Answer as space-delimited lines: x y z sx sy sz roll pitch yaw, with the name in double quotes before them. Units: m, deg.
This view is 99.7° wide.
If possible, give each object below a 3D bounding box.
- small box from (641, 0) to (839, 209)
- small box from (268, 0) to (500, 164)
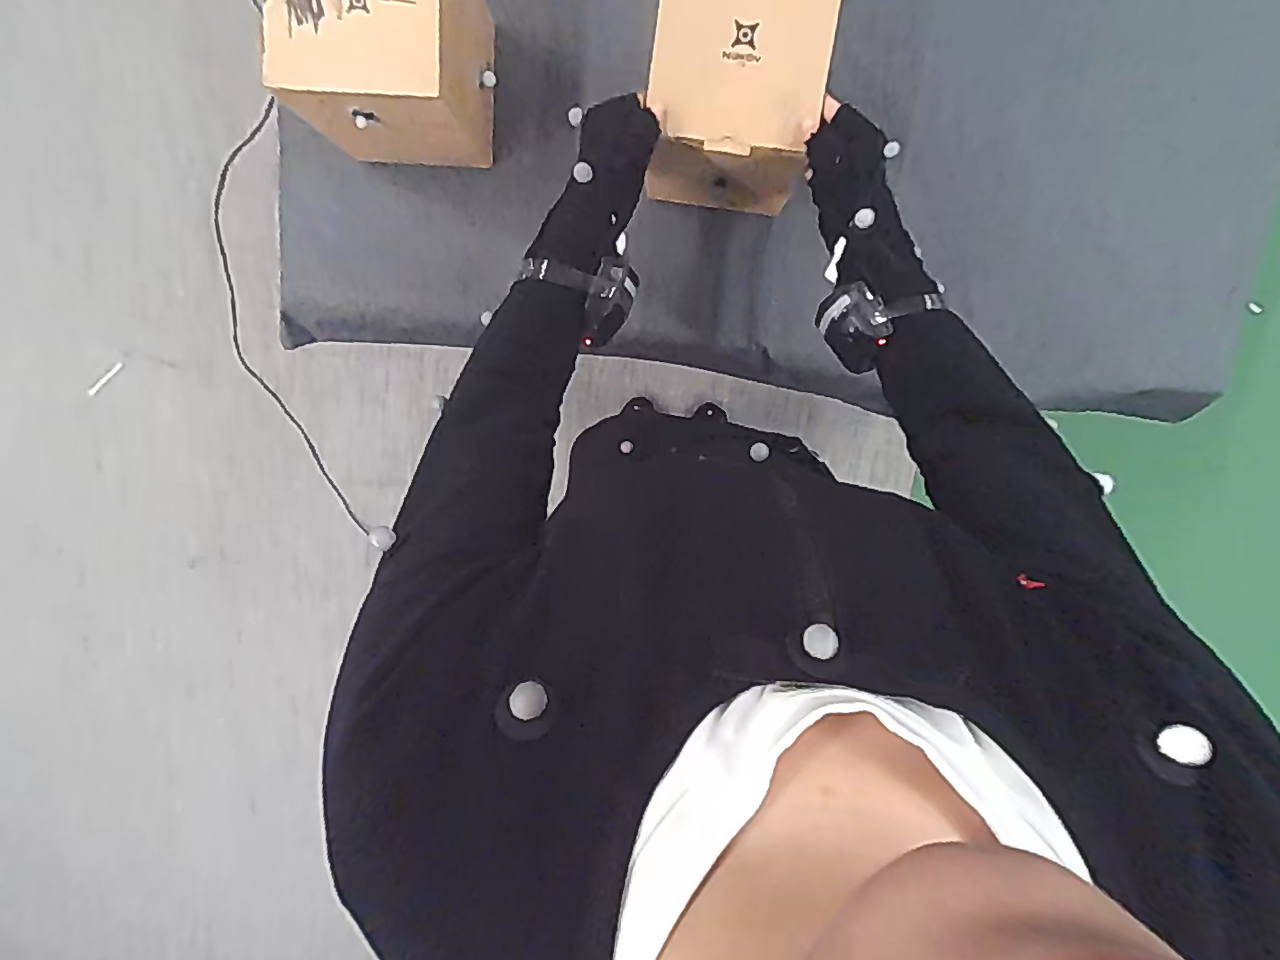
"small box" 0.099 -0.415 0.582 0.168 0.176 0.179 9 99 1
"small box" -0.266 -0.469 0.591 0.179 0.176 0.168 4 100 1
